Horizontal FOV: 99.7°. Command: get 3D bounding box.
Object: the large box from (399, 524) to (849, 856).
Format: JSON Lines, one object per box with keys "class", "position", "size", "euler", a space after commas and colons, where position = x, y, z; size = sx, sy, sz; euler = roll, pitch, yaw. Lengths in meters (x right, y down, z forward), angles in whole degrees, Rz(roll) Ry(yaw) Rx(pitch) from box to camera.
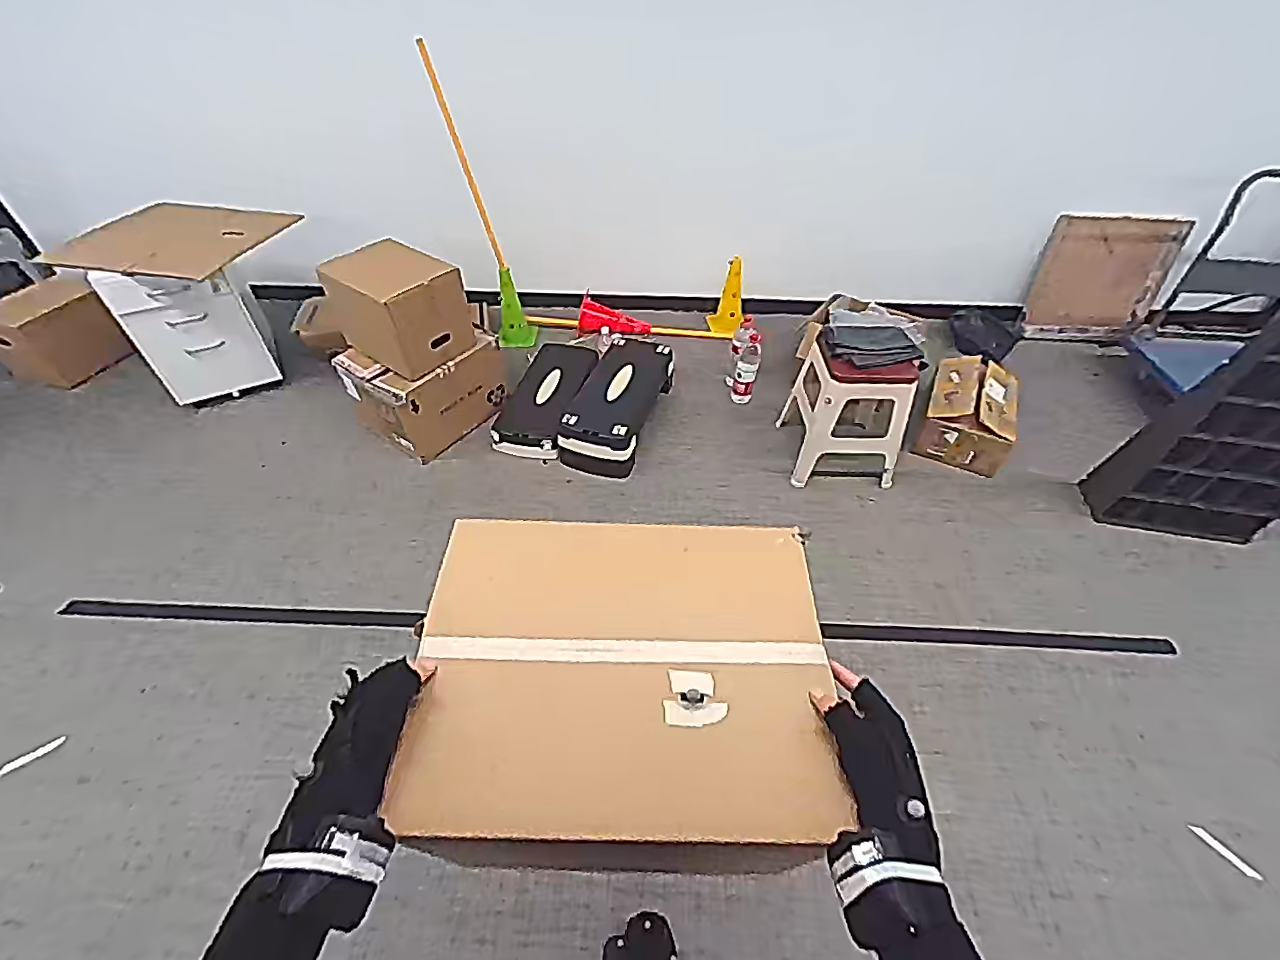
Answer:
{"class": "large box", "position": [-0.019, 0.269, 0.677], "size": [0.408, 0.320, 0.320], "euler": [2, 52, -1]}
